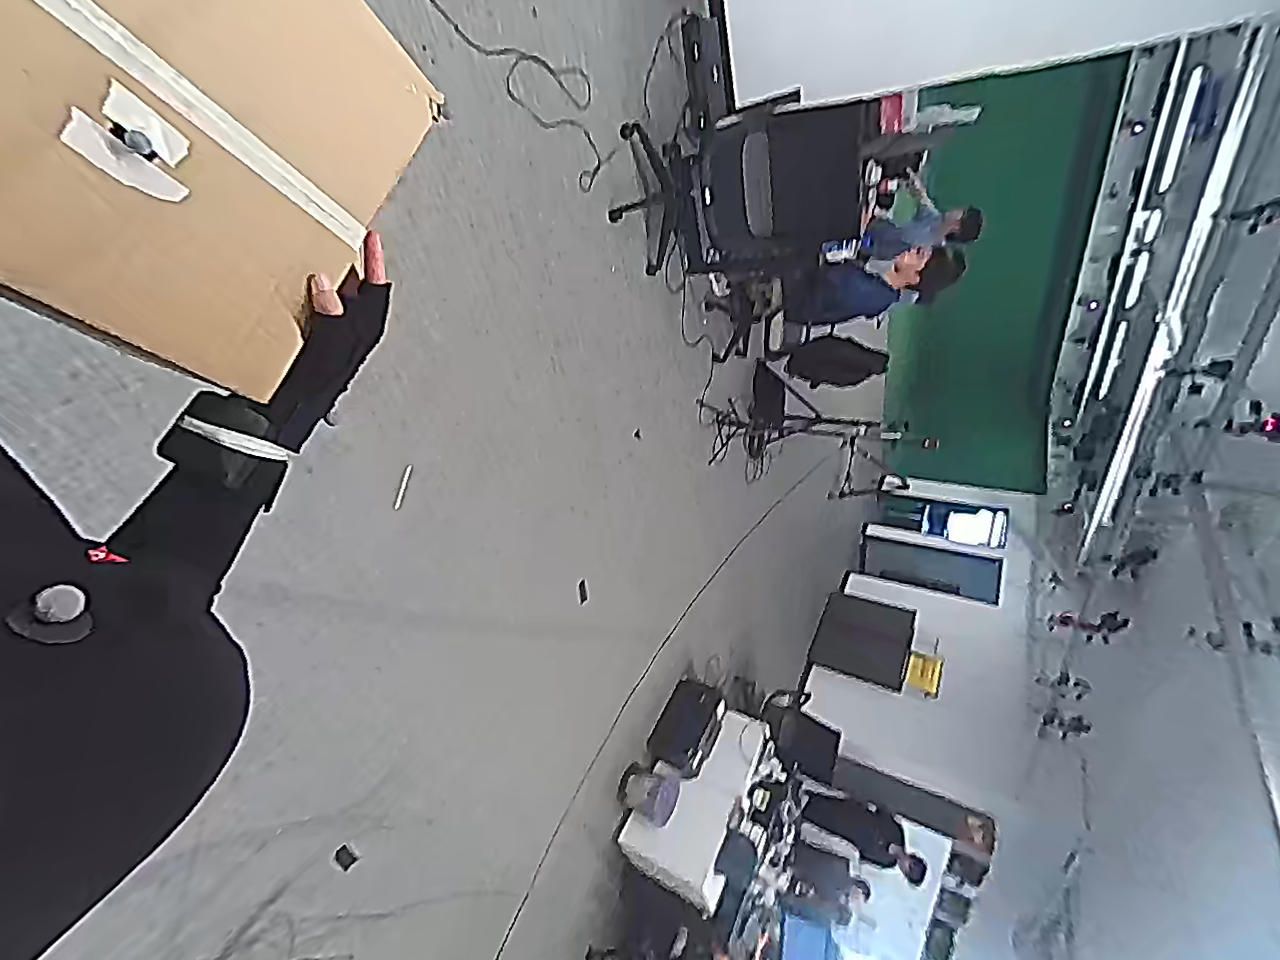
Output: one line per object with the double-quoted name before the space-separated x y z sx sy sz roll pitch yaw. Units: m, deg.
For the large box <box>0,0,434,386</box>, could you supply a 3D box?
"large box" -0.454 -0.314 0.386 0.408 0.320 0.320 38 73 -54
